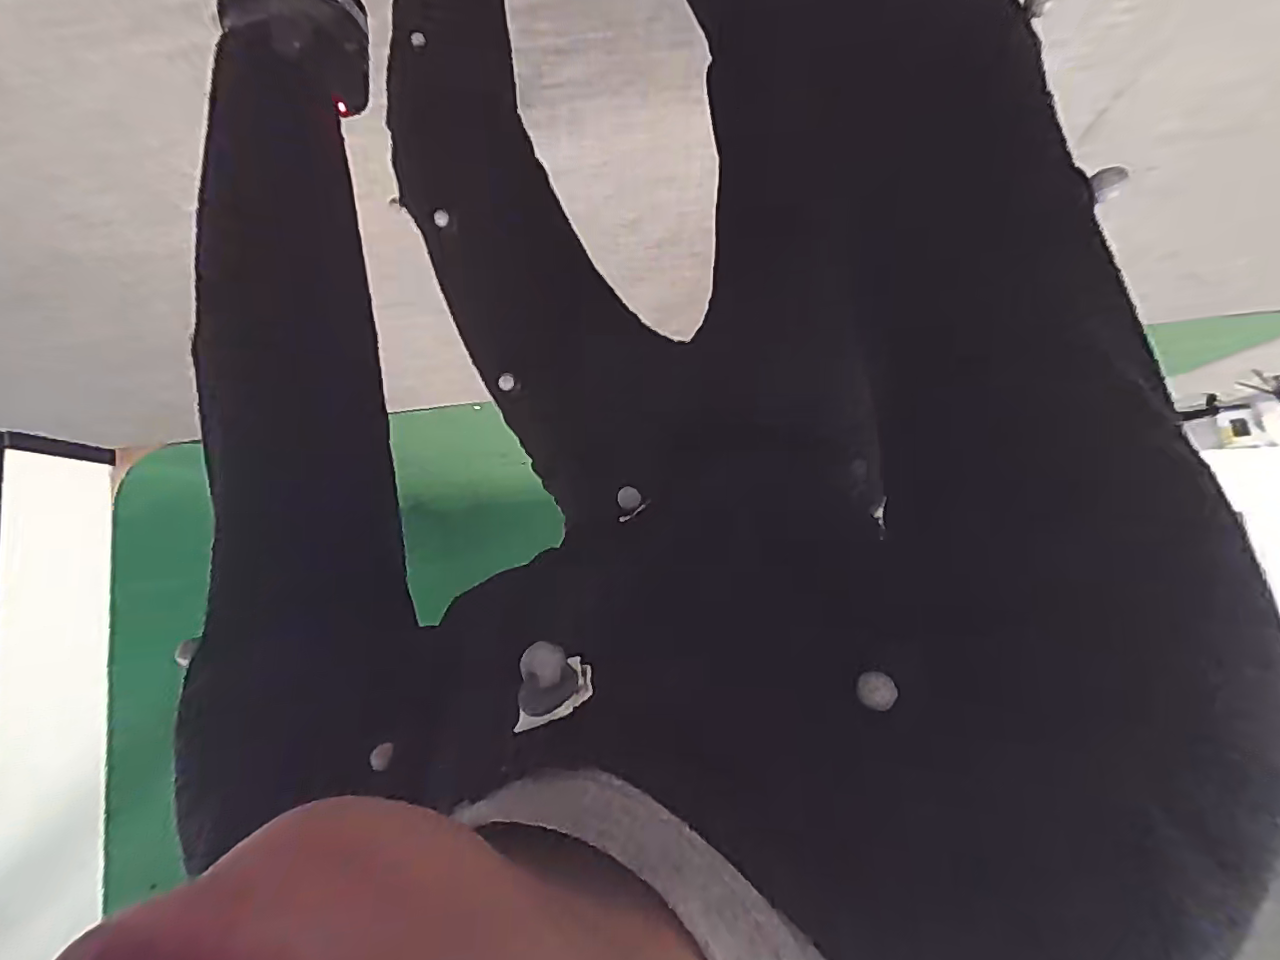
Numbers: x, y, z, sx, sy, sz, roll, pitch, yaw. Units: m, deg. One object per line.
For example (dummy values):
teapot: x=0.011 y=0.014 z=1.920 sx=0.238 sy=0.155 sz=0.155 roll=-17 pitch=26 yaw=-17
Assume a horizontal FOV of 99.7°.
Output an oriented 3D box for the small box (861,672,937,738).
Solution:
small box: x=0.906 y=0.786 z=1.907 sx=0.179 sy=0.176 sz=0.168 roll=-9 pitch=171 yaw=3
